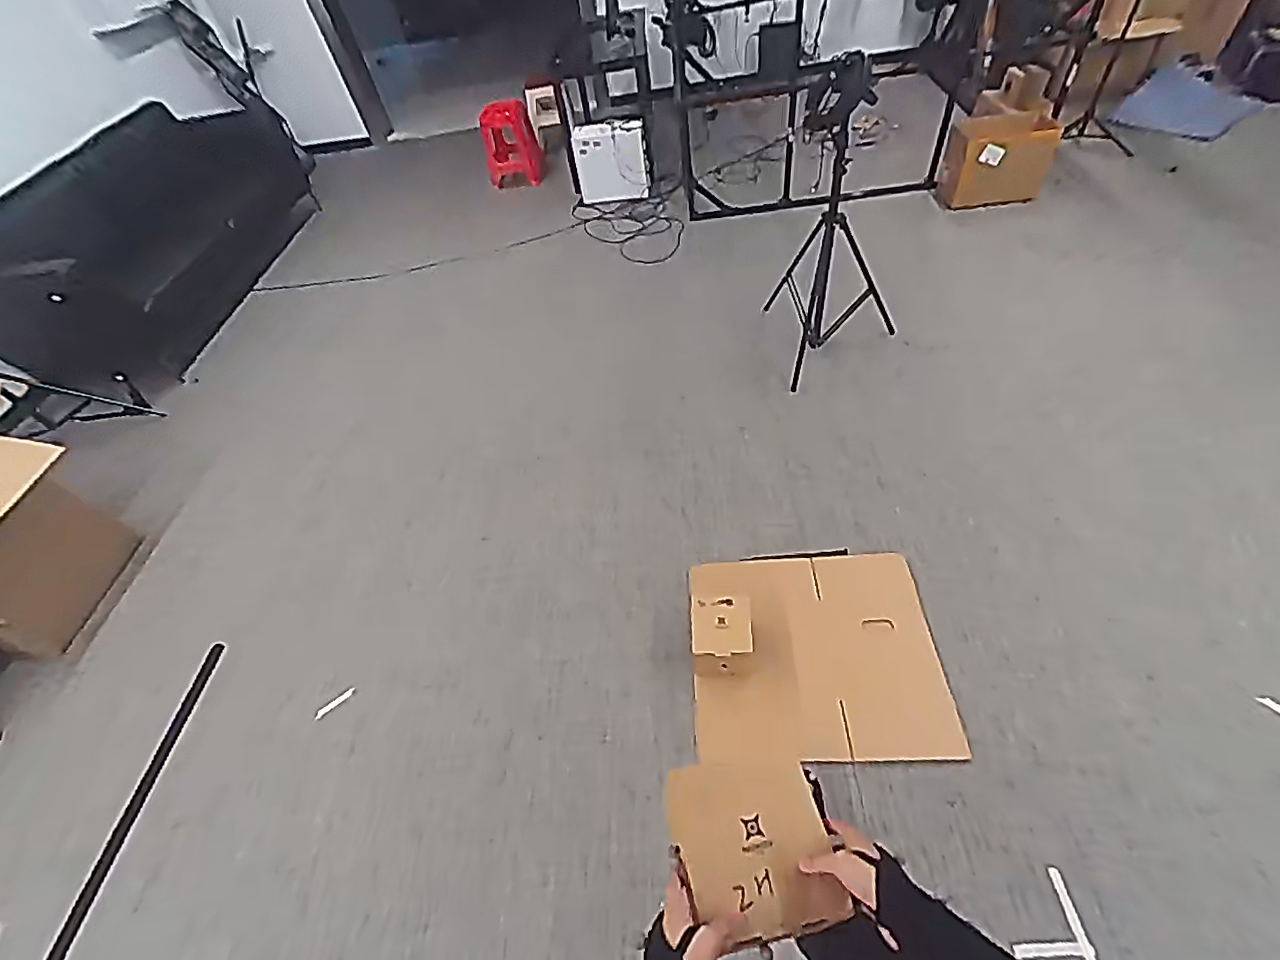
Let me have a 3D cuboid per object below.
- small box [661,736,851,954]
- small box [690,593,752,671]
[{"bbox_3d":[0.123,0.447,0.664,0.168,0.176,0.179,-8,47,-8],"label":"small box"},{"bbox_3d":[0.234,0.441,1.557,0.168,0.176,0.179,-3,52,8],"label":"small box"}]
